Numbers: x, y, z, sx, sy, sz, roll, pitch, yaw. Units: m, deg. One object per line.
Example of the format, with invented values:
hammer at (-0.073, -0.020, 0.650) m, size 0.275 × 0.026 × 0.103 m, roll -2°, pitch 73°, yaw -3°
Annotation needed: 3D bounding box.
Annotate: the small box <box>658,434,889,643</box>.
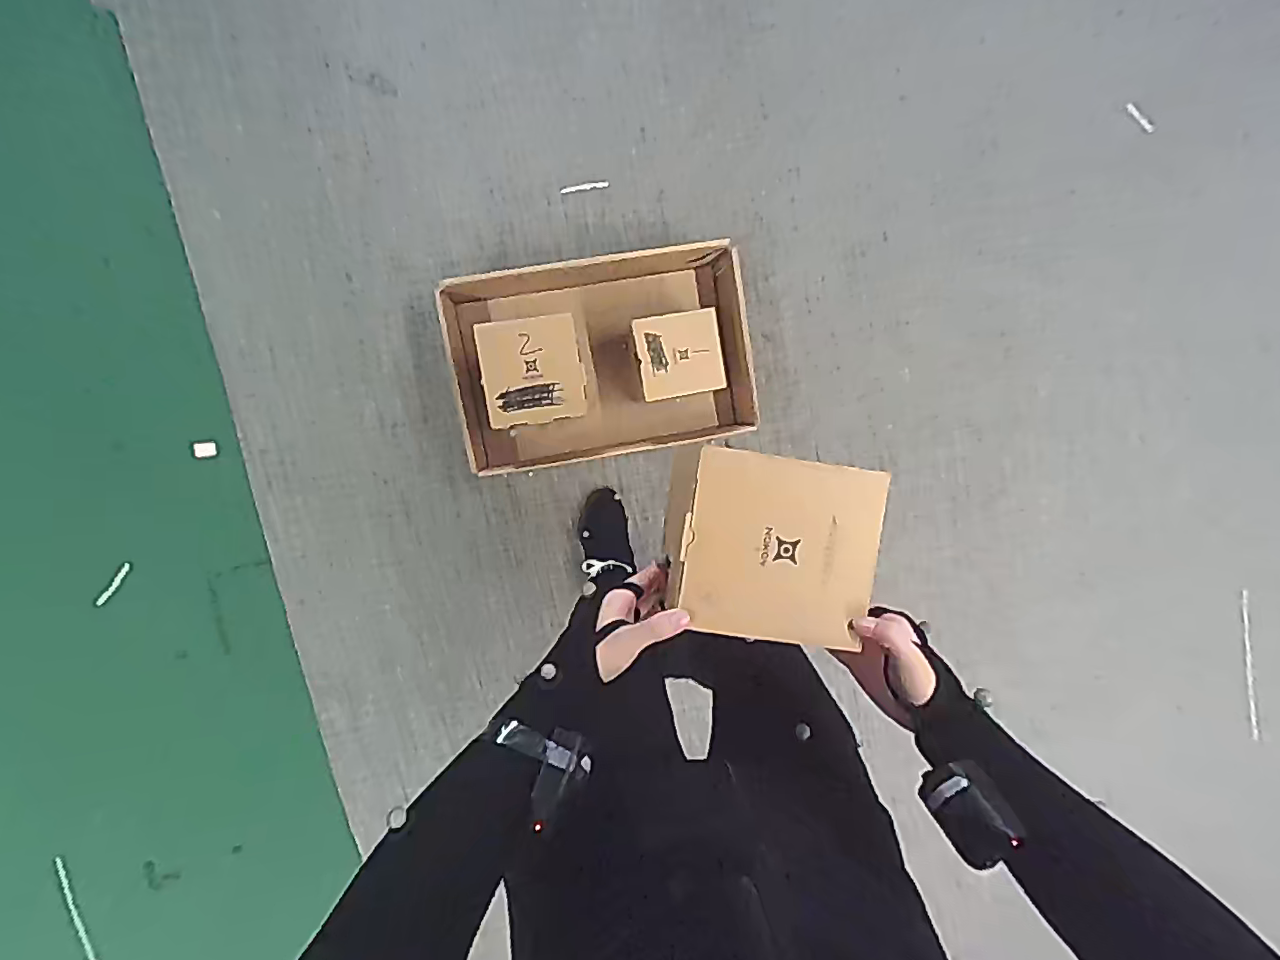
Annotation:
small box at (0.119, 0.051, 0.554) m, size 0.179 × 0.176 × 0.168 m, roll 8°, pitch 91°, yaw -5°
